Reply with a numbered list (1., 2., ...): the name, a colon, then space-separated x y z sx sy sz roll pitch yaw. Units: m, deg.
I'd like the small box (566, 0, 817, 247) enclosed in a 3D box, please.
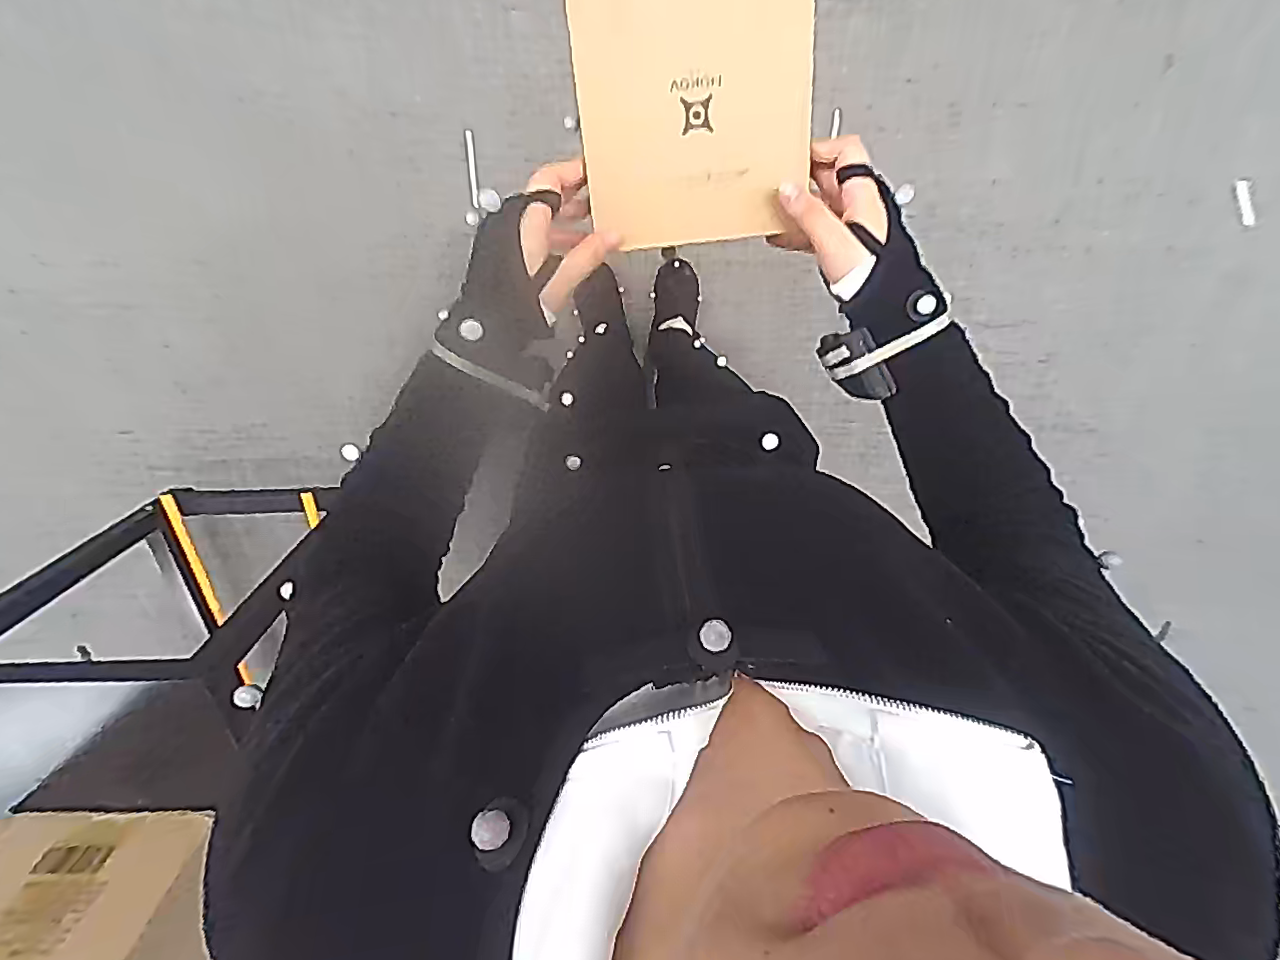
1. small box: 0.032 -0.295 0.442 0.168 0.176 0.179 -7 117 -1
